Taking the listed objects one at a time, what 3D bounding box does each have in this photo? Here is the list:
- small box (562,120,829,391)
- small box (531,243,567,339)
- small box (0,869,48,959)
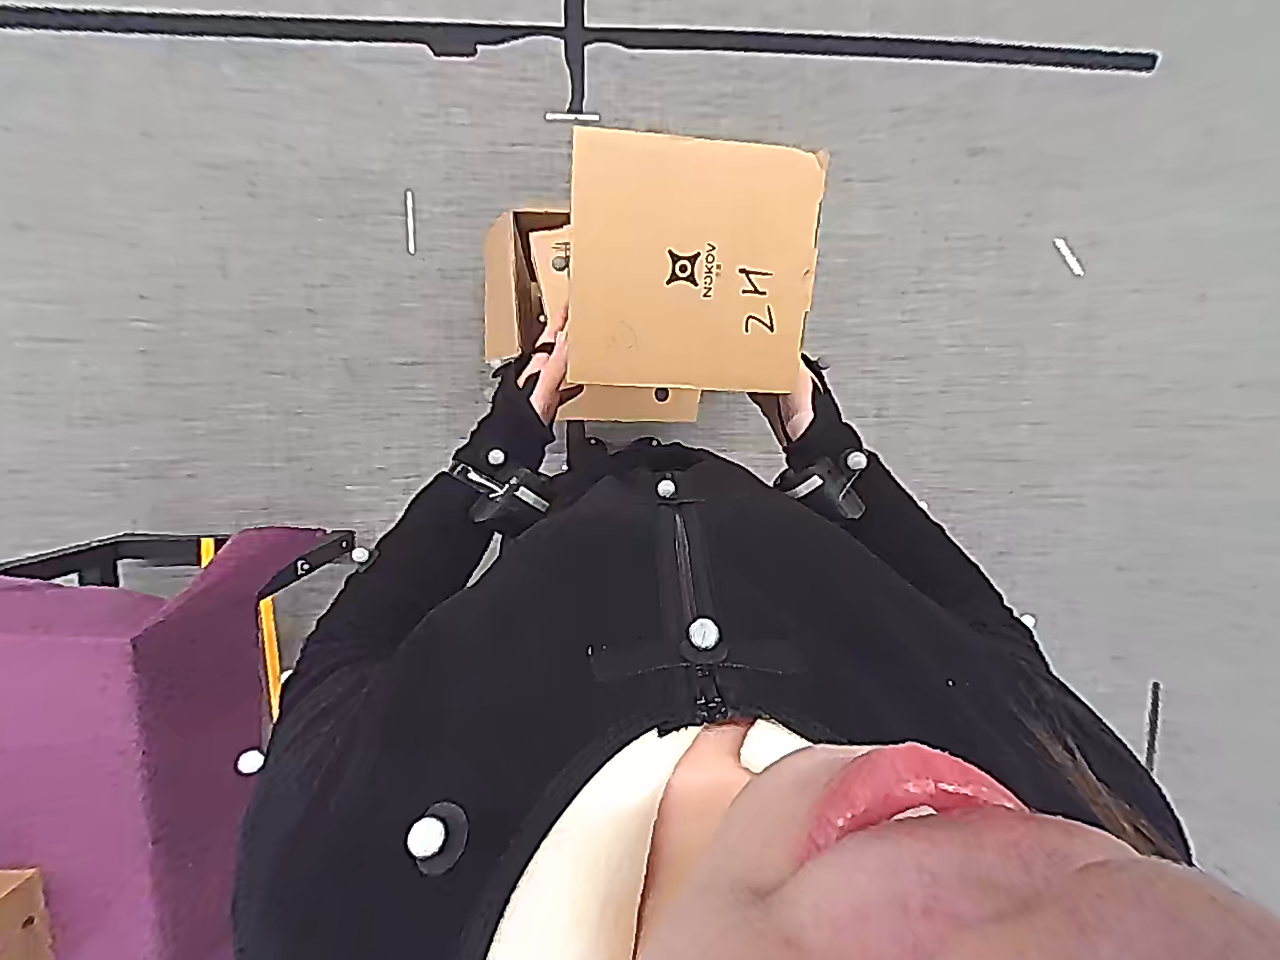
[{"bbox_3d":[0.028,-0.171,0.452,0.179,0.176,0.168,2,107,-7],"label":"small box"},{"bbox_3d":[-0.122,-0.415,1.174,0.179,0.176,0.168,-22,102,-5],"label":"small box"},{"bbox_3d":[-0.907,0.626,0.675,0.179,0.176,0.168,-1,96,-4],"label":"small box"}]
